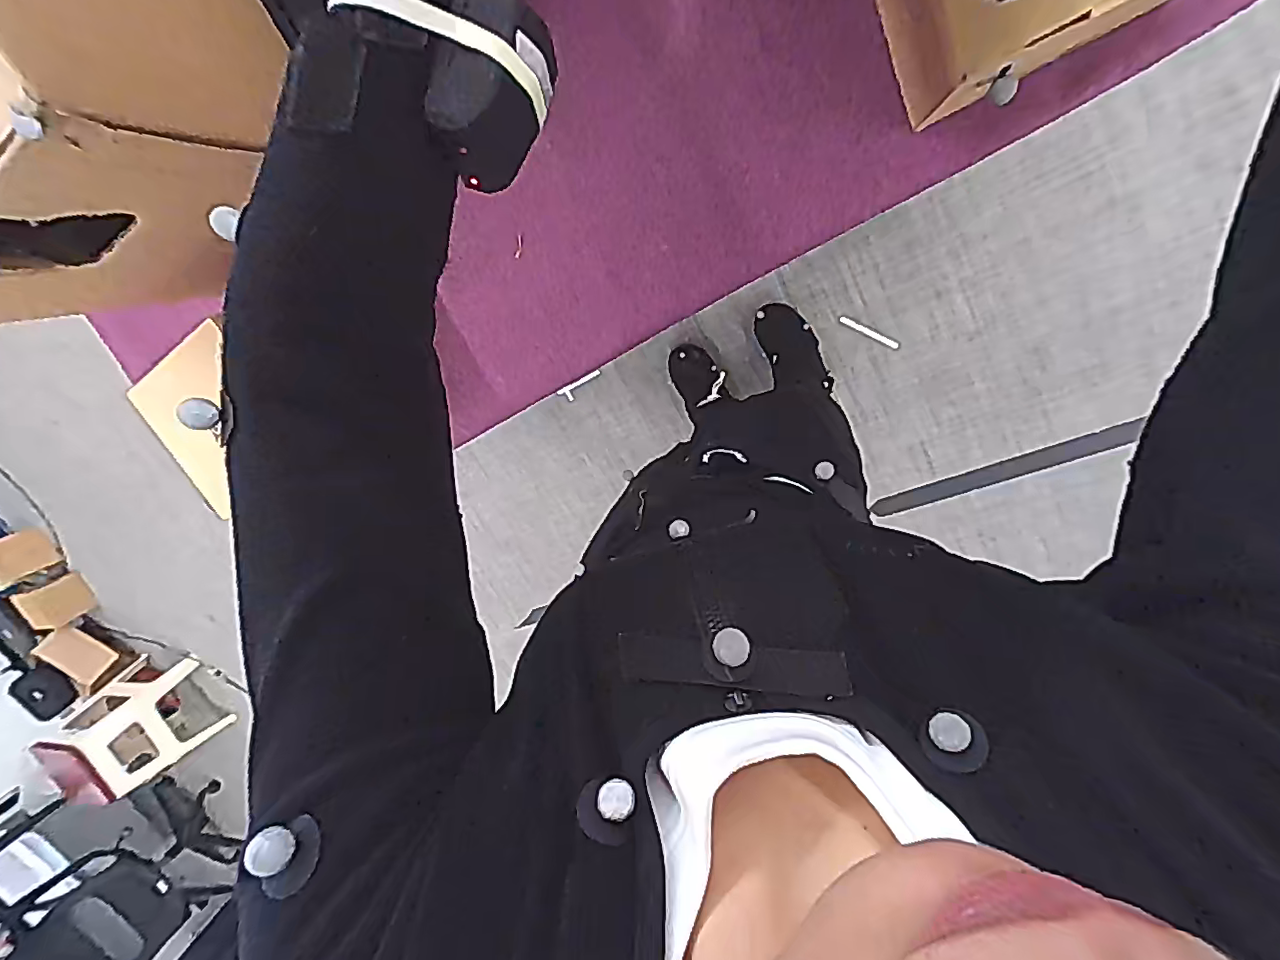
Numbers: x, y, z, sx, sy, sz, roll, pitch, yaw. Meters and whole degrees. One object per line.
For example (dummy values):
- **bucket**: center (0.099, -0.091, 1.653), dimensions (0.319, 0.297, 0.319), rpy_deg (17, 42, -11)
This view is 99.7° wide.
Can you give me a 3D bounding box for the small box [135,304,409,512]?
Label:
- **small box**: center (-0.420, -0.091, 0.641), dimensions (0.179, 0.176, 0.168), rpy_deg (-24, 104, 24)
